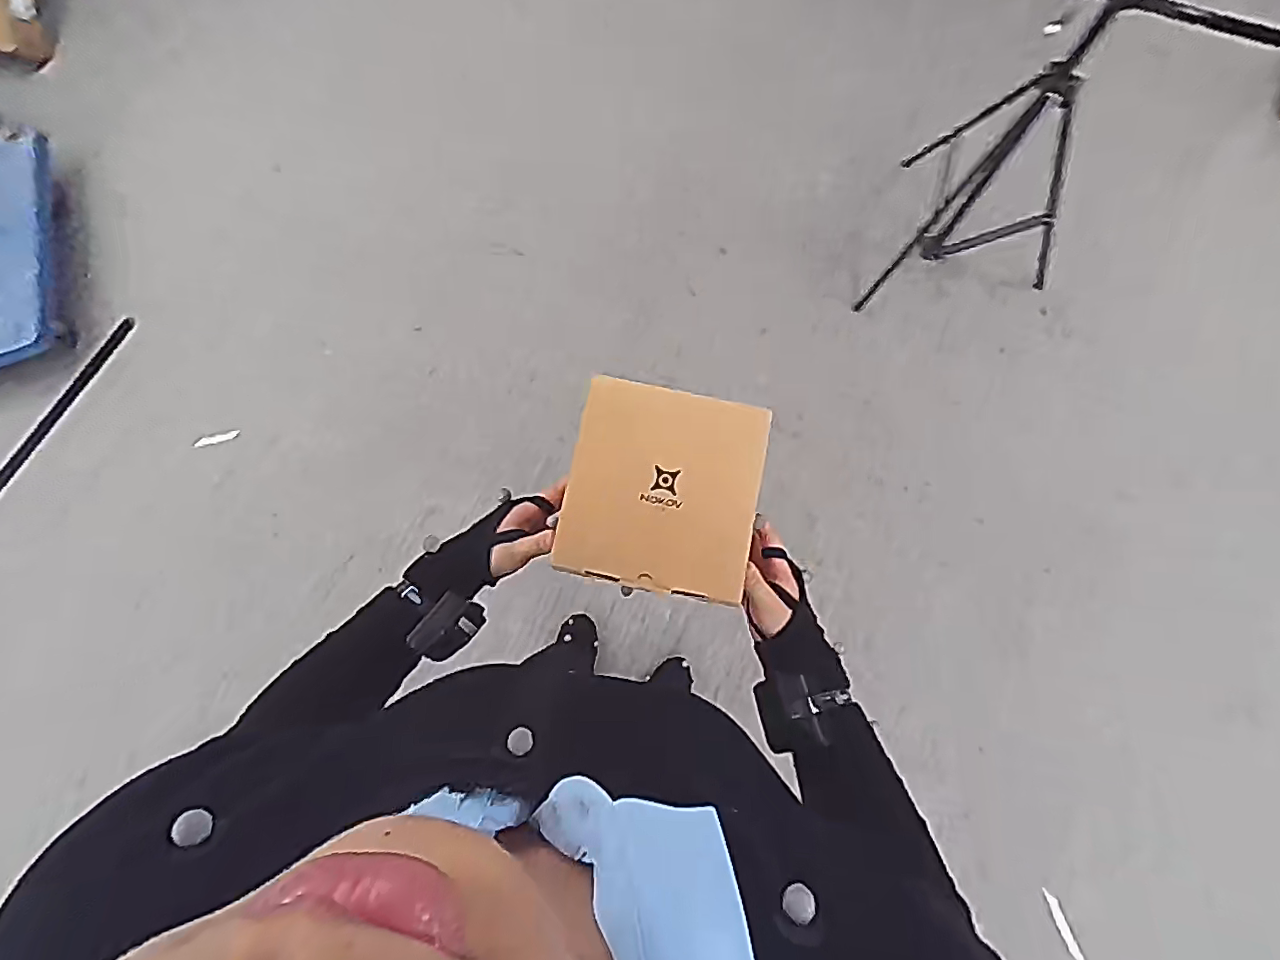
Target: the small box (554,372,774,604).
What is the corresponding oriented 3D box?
[{"bbox_3d":[0.020,0.018,0.535,0.168,0.176,0.179,11,79,0],"label":"small box"}]
